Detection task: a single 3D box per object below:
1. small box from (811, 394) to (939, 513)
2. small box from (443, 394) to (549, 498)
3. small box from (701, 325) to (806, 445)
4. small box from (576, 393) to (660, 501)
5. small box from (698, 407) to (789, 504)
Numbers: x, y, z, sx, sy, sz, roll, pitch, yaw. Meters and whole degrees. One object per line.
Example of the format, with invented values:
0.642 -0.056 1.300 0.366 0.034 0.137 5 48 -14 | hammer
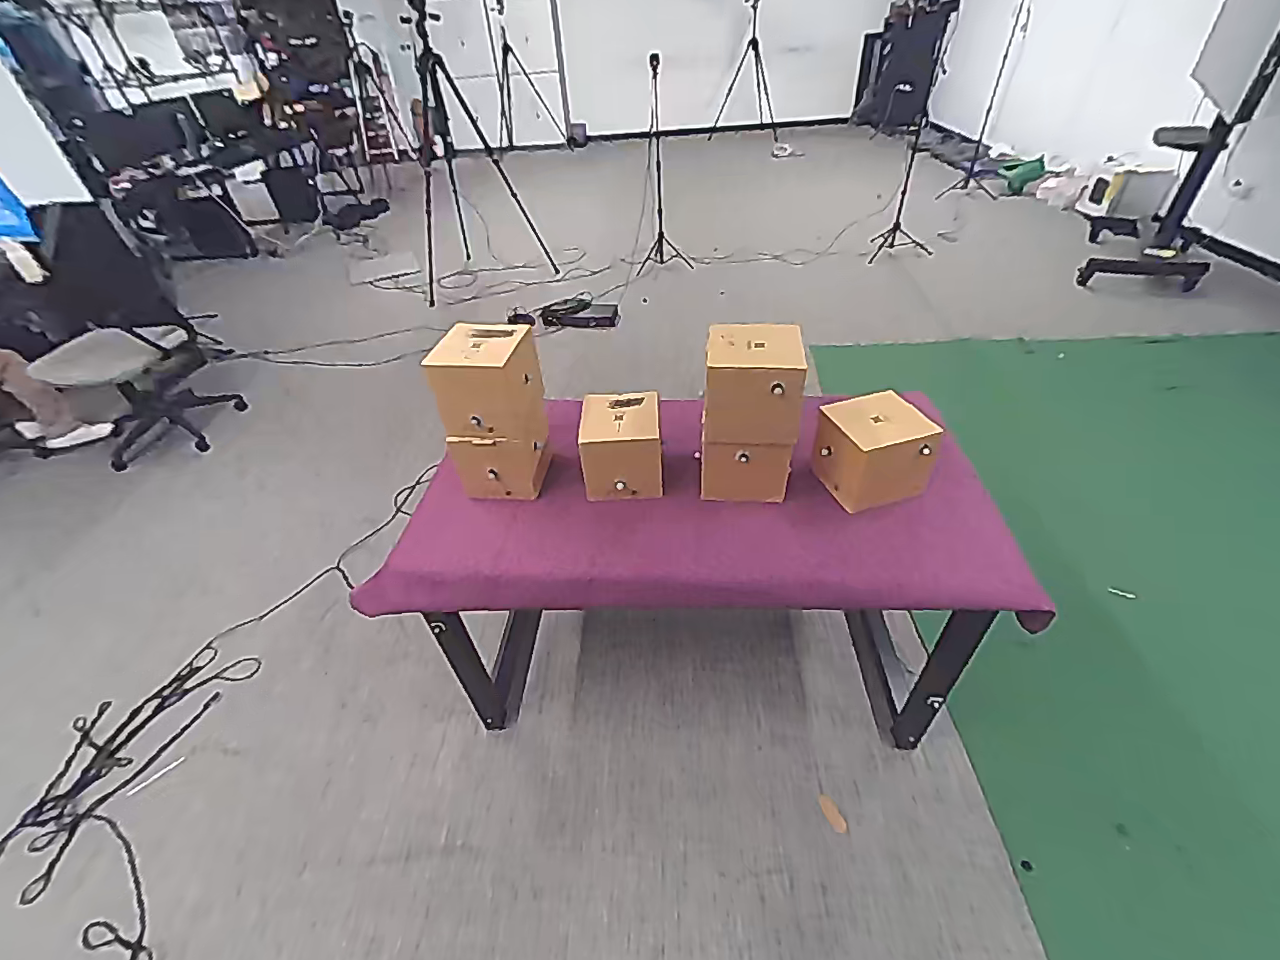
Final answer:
0.473 -0.053 1.123 0.179 0.176 0.168 -13 41 -10 | small box
-0.310 -0.076 1.207 0.168 0.176 0.179 2 42 6 | small box
0.212 -0.182 1.040 0.179 0.176 0.168 3 41 8 | small box
-0.042 -0.073 1.182 0.168 0.176 0.179 -3 41 2 | small box
0.216 -0.063 1.154 0.179 0.176 0.168 3 42 8 | small box
